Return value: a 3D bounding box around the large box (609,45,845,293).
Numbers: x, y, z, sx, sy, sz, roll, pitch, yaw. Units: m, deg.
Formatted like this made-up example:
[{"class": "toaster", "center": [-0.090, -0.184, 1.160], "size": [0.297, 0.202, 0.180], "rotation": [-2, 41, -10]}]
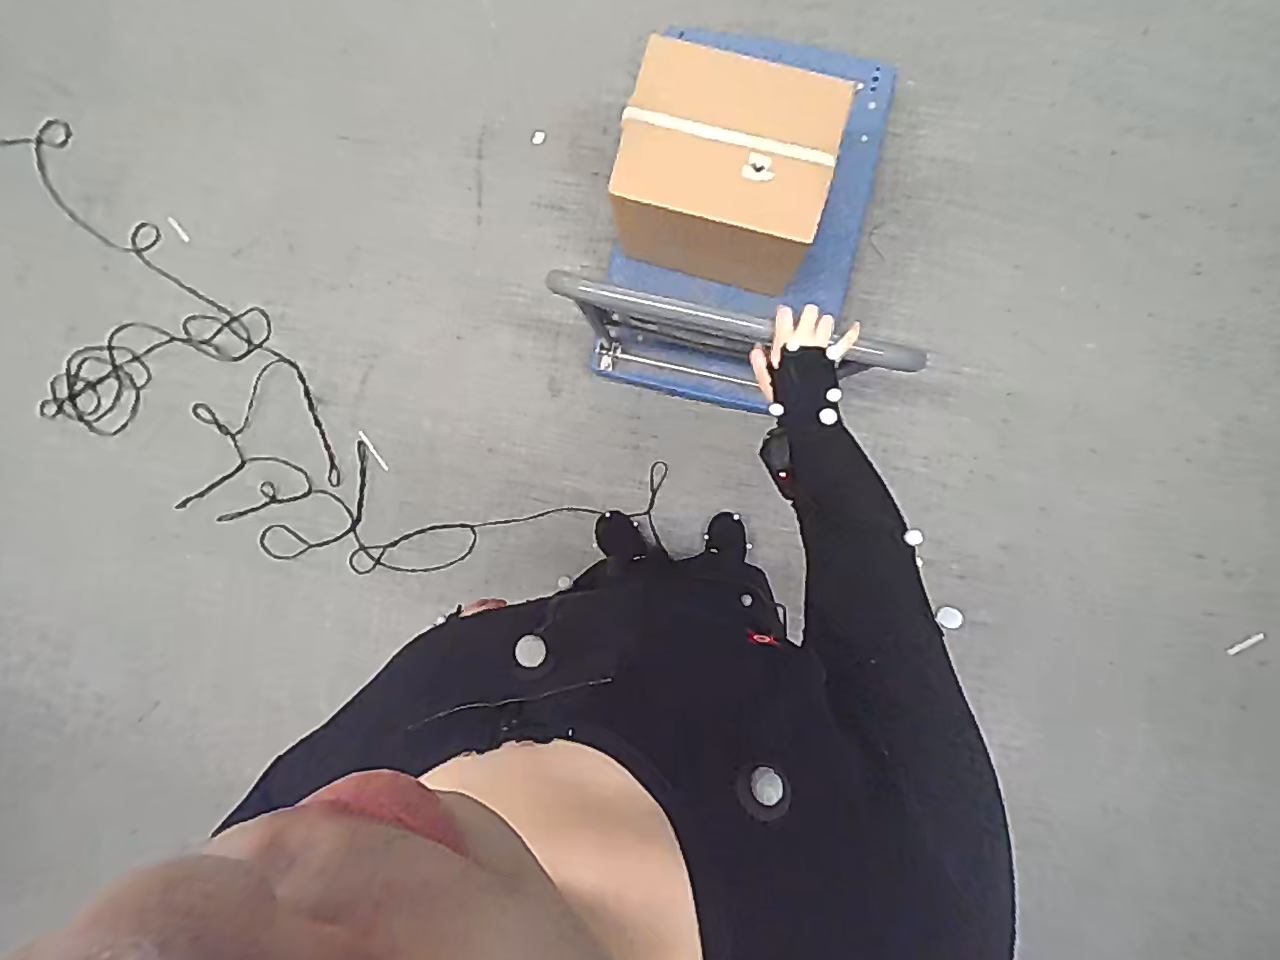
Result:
[{"class": "large box", "center": [0.170, -0.651, 1.190], "size": [0.408, 0.320, 0.320], "rotation": [15, 91, 2]}]
